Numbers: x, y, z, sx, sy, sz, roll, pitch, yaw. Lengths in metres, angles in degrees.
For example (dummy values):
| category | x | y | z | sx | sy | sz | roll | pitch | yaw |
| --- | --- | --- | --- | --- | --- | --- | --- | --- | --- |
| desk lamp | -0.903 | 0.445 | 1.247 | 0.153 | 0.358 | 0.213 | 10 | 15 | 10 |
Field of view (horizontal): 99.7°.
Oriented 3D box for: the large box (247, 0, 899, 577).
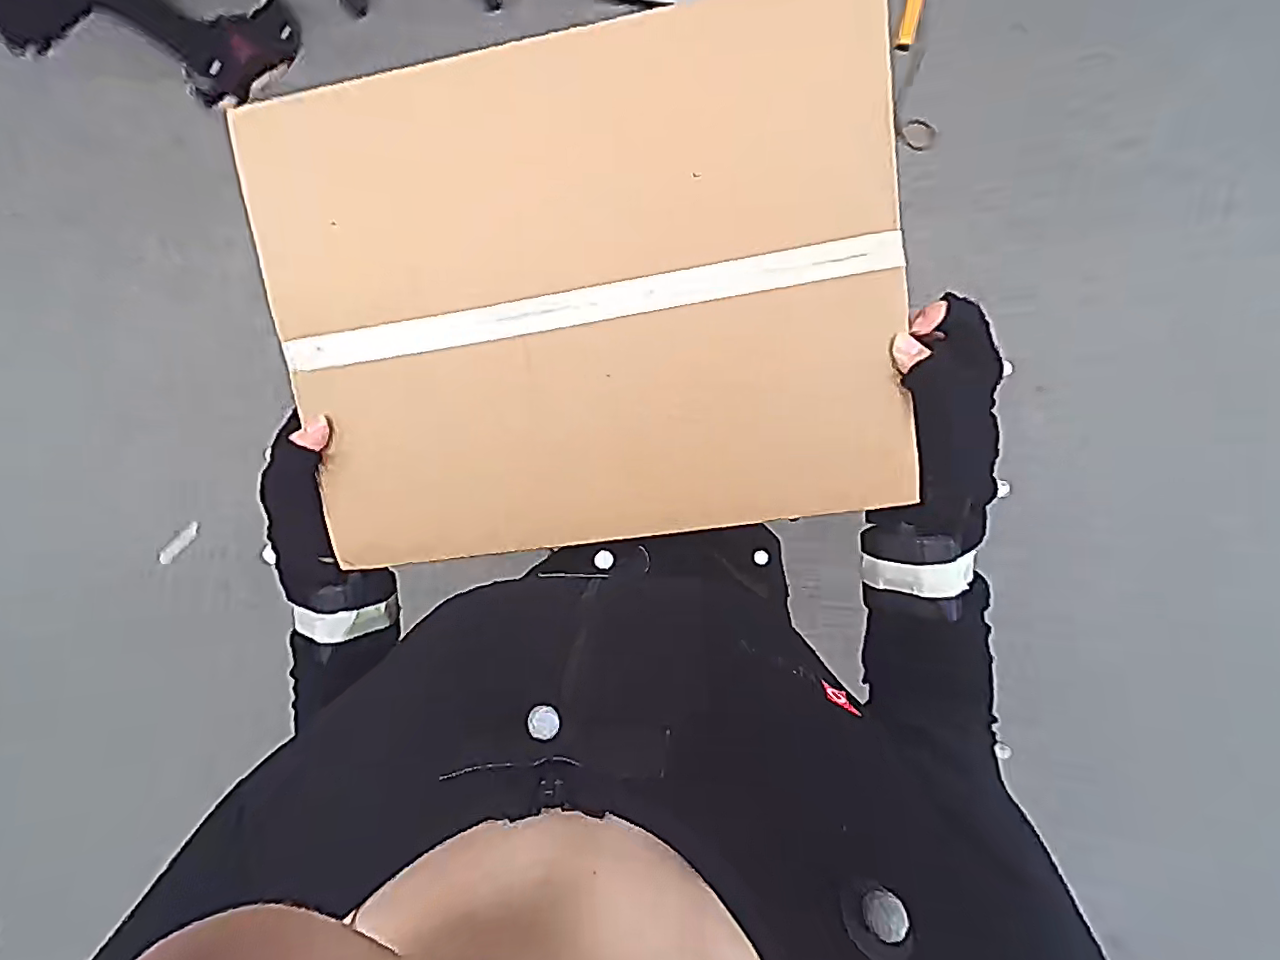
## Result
| category | x | y | z | sx | sy | sz | roll | pitch | yaw |
| --- | --- | --- | --- | --- | --- | --- | --- | --- | --- |
| large box | -0.030 | -0.132 | 0.507 | 0.408 | 0.320 | 0.320 | -8 | 98 | 7 |
